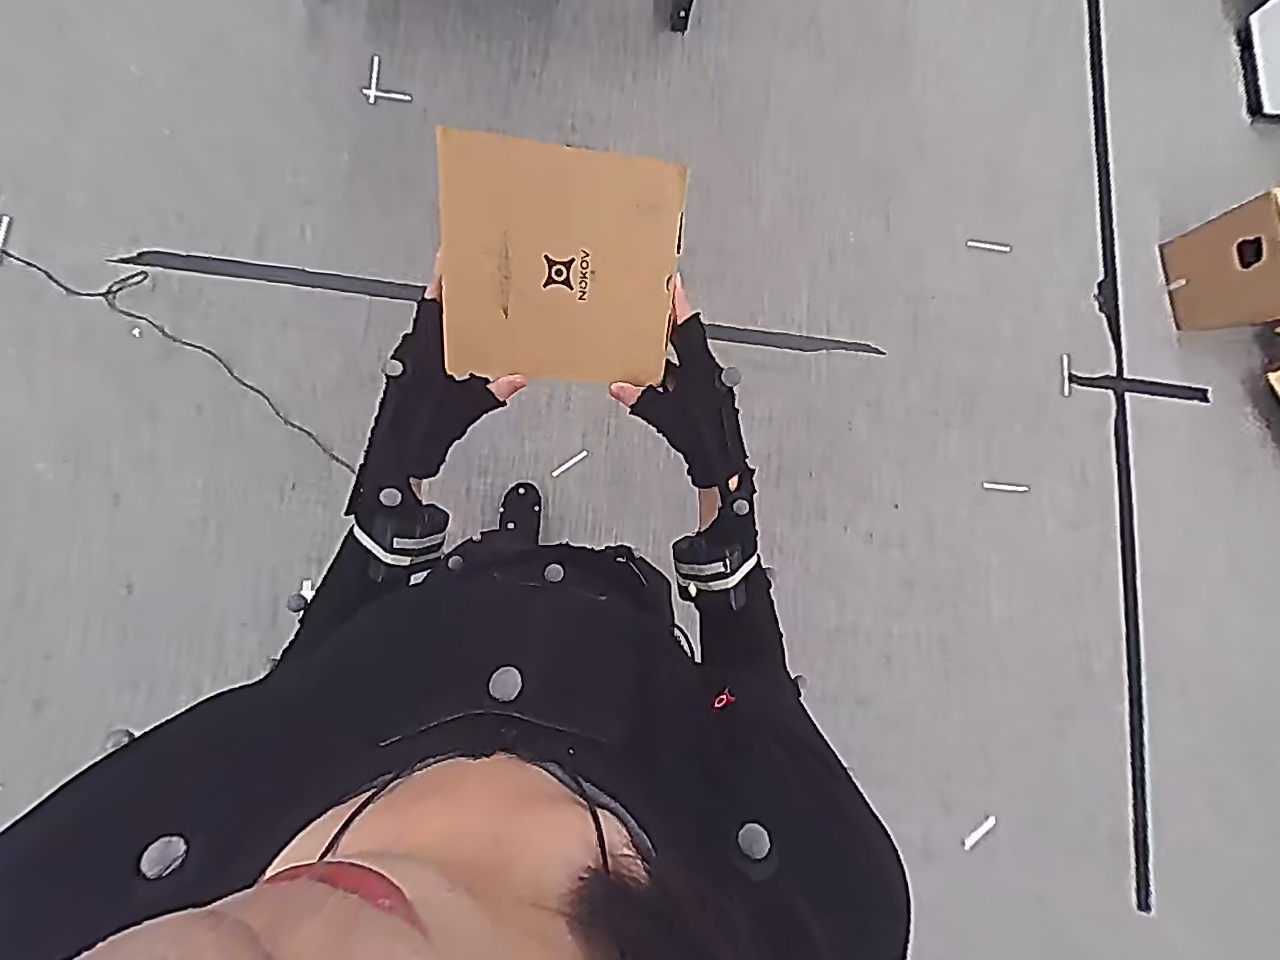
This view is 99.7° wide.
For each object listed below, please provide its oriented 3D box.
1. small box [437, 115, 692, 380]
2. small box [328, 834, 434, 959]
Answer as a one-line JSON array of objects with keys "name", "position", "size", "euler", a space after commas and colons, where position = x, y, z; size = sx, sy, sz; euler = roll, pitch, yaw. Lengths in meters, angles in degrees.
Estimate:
[{"name": "small box", "position": [-0.070, -0.188, 0.467], "size": [0.179, 0.176, 0.168], "euler": [1, 111, -12]}, {"name": "small box", "position": [-0.581, 0.943, 1.238], "size": [0.168, 0.176, 0.179], "euler": [8, 80, -9]}]
